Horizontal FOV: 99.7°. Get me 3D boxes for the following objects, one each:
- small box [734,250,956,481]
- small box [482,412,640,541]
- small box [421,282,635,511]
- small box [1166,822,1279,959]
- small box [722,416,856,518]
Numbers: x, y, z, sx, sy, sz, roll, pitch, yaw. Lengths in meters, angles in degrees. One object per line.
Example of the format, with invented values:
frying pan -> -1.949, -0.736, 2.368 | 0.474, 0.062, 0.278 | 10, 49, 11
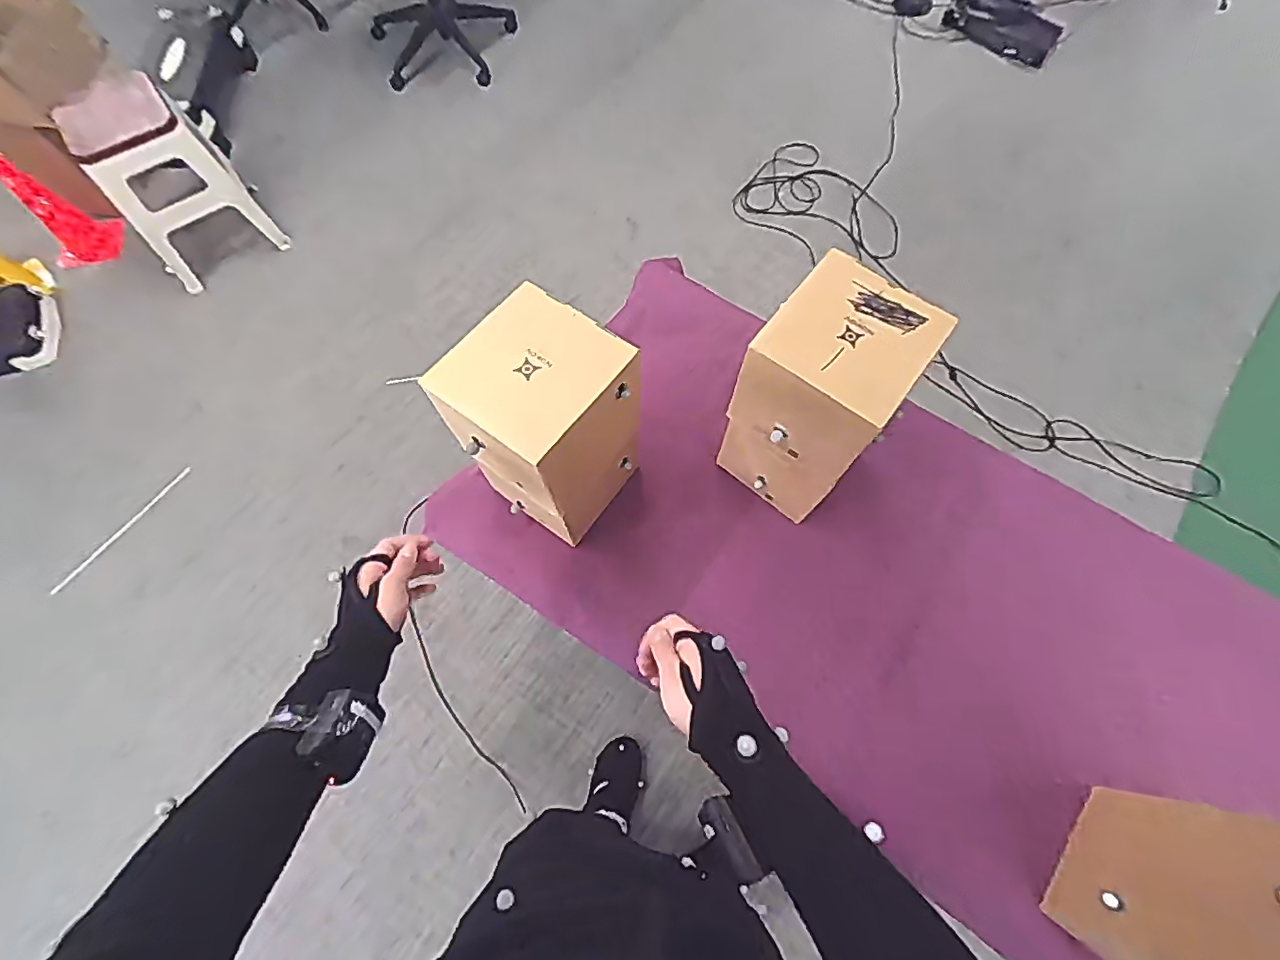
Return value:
small box -> 0.233, -0.130, 0.662 | 0.168, 0.176, 0.179 | 37, 74, 13
small box -> -0.116, -0.037, 0.802 | 0.168, 0.176, 0.179 | 34, 72, 13
small box -> -0.116, -0.090, 0.649 | 0.168, 0.176, 0.179 | 34, 71, 14
small box -> 0.601, 0.422, 0.441 | 0.168, 0.176, 0.179 | 38, 72, 15
small box -> 0.241, -0.072, 0.815 | 0.168, 0.176, 0.179 | 39, 74, 14
